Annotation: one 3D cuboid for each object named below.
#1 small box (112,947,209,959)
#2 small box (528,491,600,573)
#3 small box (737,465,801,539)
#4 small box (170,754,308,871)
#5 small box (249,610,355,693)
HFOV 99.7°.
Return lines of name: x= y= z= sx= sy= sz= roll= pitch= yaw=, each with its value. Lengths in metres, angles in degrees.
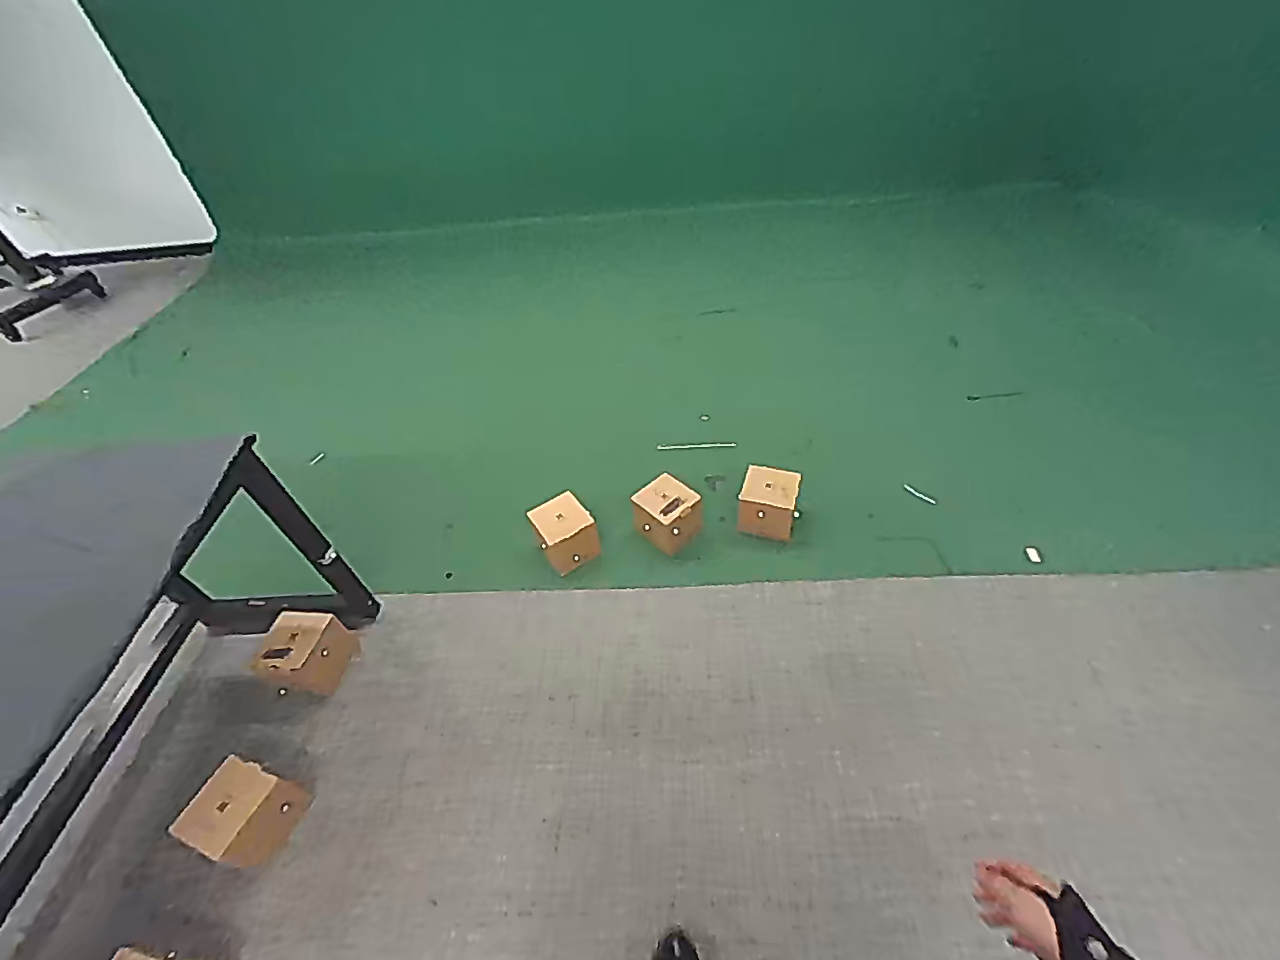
small box: x=-0.953 y=1.043 z=1.048 sx=0.168 sy=0.176 sz=0.179 roll=6 pitch=48 yaw=12
small box: x=-0.252 y=0.175 z=1.807 sx=0.168 sy=0.176 sz=0.179 roll=-29 pitch=51 yaw=-21
small box: x=0.431 y=0.077 z=1.823 sx=0.179 sy=0.176 sz=0.168 roll=12 pitch=49 yaw=17
small box: x=-0.935 y=0.792 z=1.287 sx=0.168 sy=0.176 sz=0.179 roll=12 pitch=50 yaw=18
small box: x=-0.967 y=0.500 z=1.569 sx=0.168 sy=0.176 sz=0.179 roll=2 pitch=46 yaw=7
